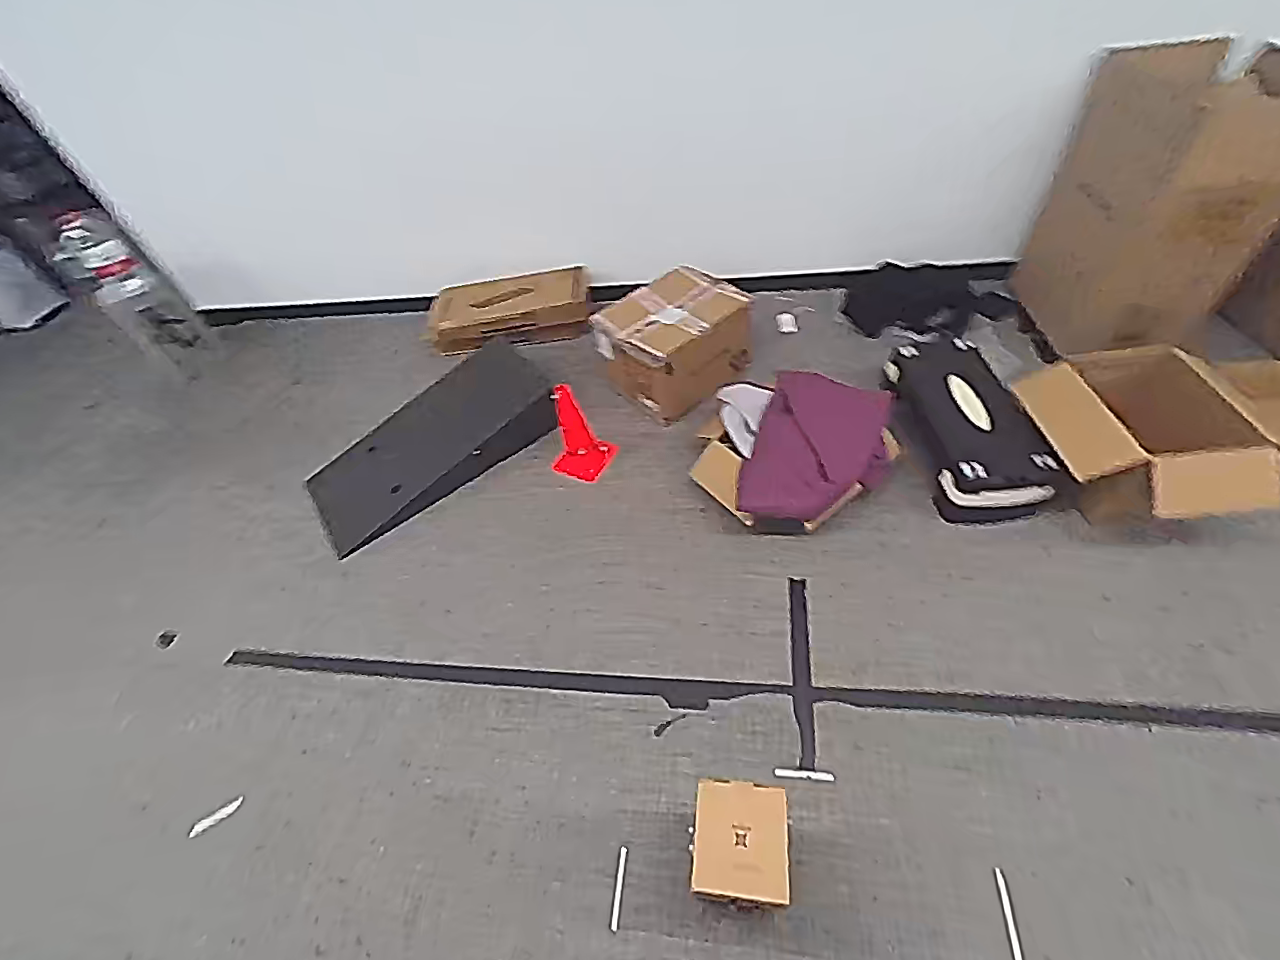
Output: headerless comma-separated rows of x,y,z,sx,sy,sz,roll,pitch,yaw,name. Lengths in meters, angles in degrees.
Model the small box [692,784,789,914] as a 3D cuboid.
0.192,0.702,1.028,0.168,0.176,0.179,0,51,12,small box
